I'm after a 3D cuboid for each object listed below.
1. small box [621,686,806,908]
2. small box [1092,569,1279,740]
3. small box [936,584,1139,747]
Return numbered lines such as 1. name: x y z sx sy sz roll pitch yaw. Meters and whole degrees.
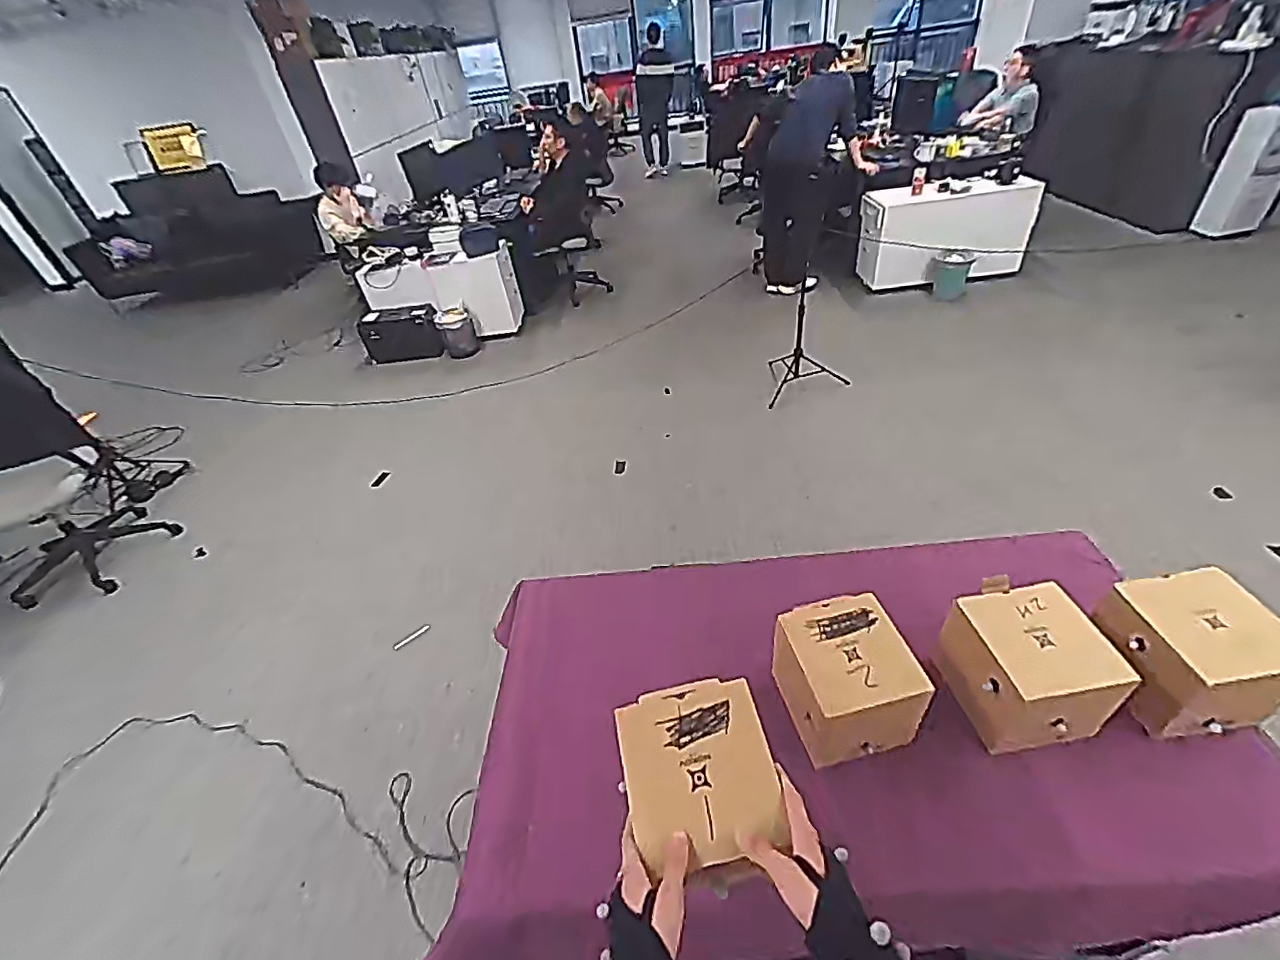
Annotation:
1. small box: 0.080 0.379 0.647 0.168 0.176 0.179 -14 47 -2
2. small box: 0.836 0.267 0.830 0.168 0.176 0.179 -10 38 2
3. small box: 0.599 0.294 0.845 0.168 0.176 0.179 -10 39 0
